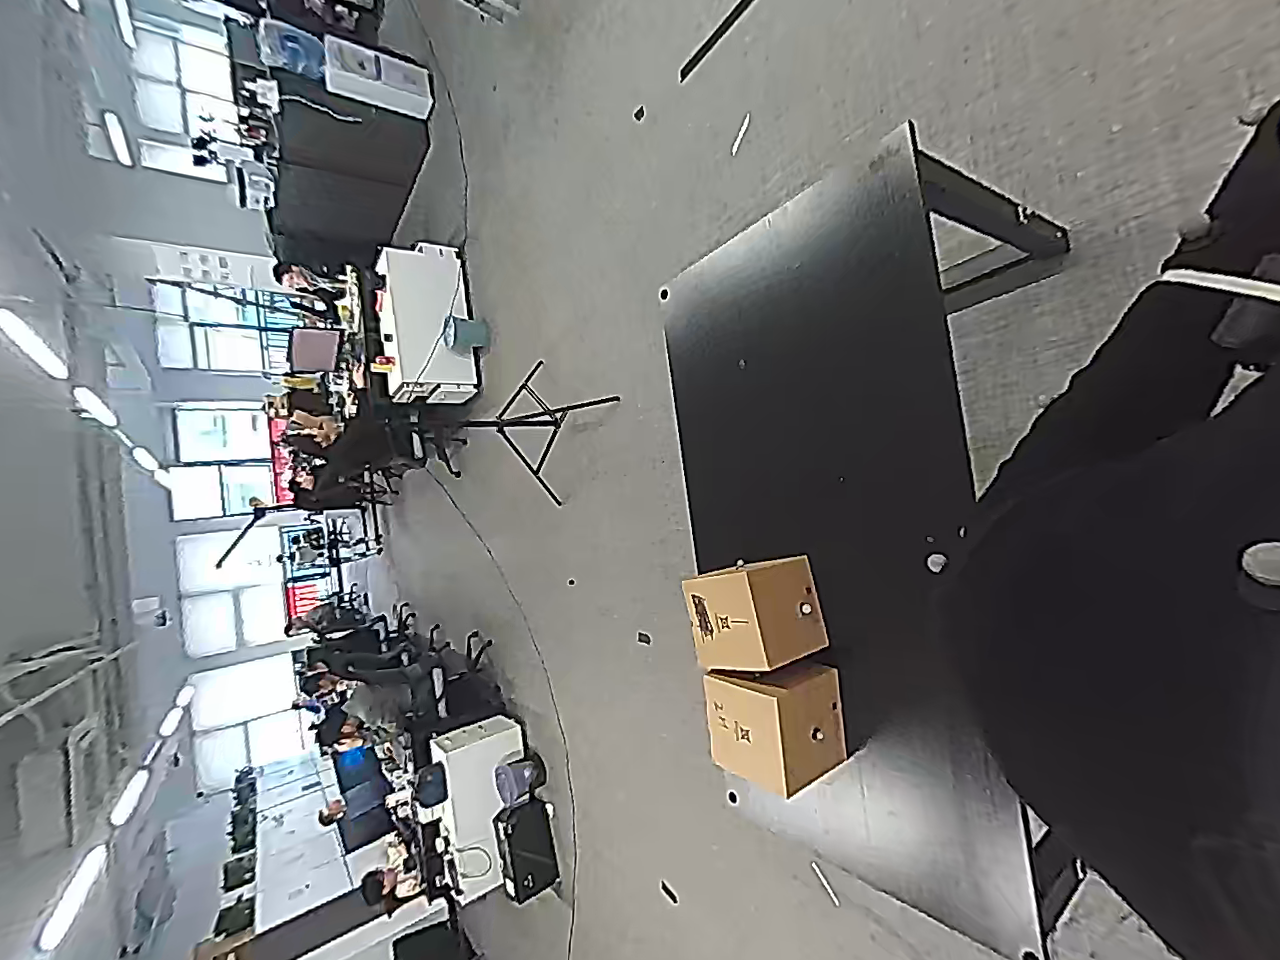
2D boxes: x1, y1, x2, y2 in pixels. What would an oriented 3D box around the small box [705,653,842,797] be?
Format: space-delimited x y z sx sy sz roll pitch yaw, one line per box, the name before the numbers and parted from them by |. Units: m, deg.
small box | 0.243 0.422 0.971 0.179 0.176 0.168 -7 88 55
